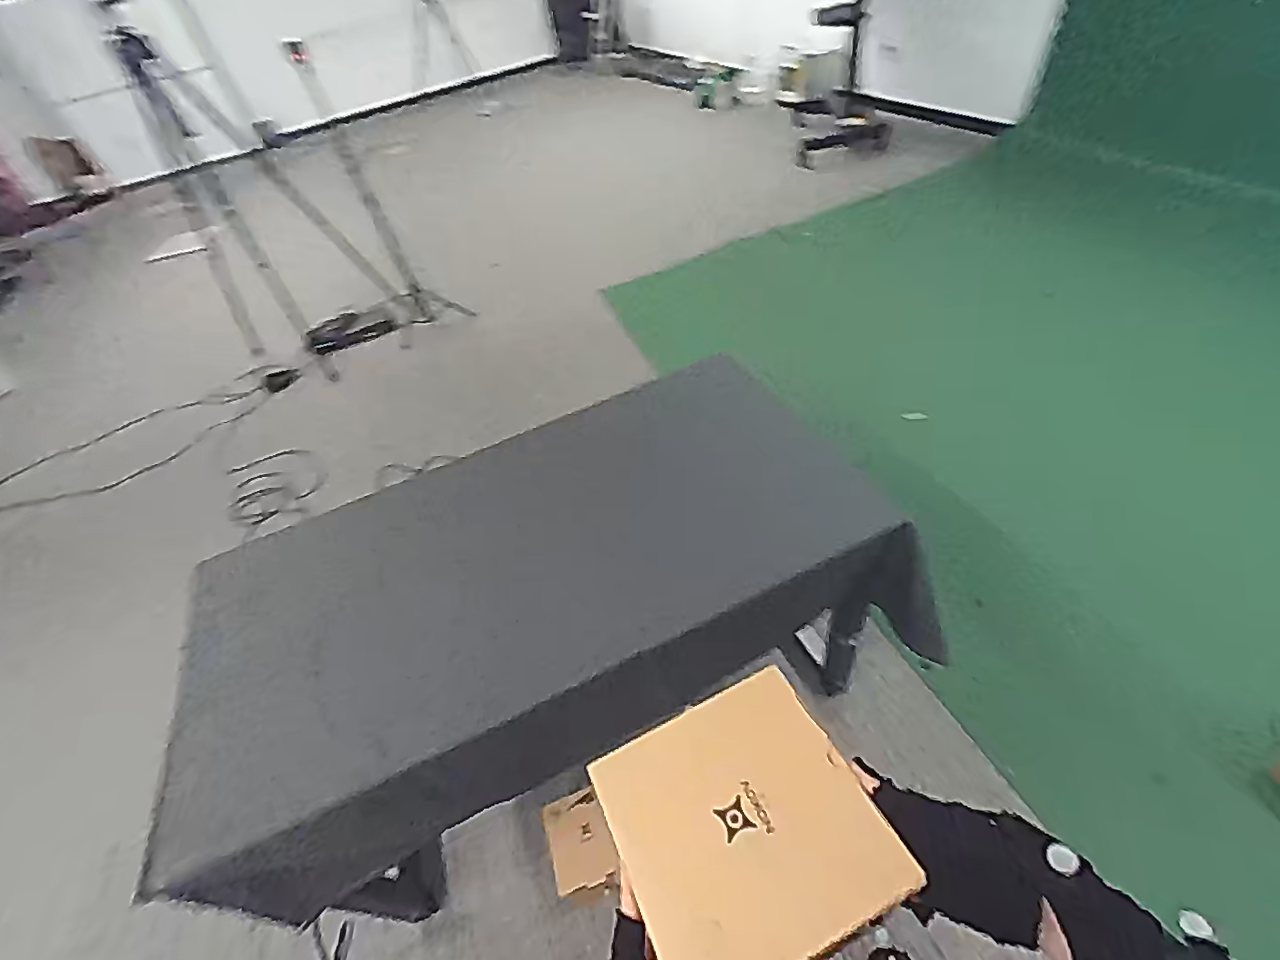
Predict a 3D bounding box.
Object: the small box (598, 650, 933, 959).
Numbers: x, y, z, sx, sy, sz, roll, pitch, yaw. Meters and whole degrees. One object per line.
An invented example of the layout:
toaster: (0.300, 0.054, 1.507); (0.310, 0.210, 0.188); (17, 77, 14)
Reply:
small box: (0.087, 0.277, 0.429); (0.179, 0.176, 0.168); (-22, 45, -12)
